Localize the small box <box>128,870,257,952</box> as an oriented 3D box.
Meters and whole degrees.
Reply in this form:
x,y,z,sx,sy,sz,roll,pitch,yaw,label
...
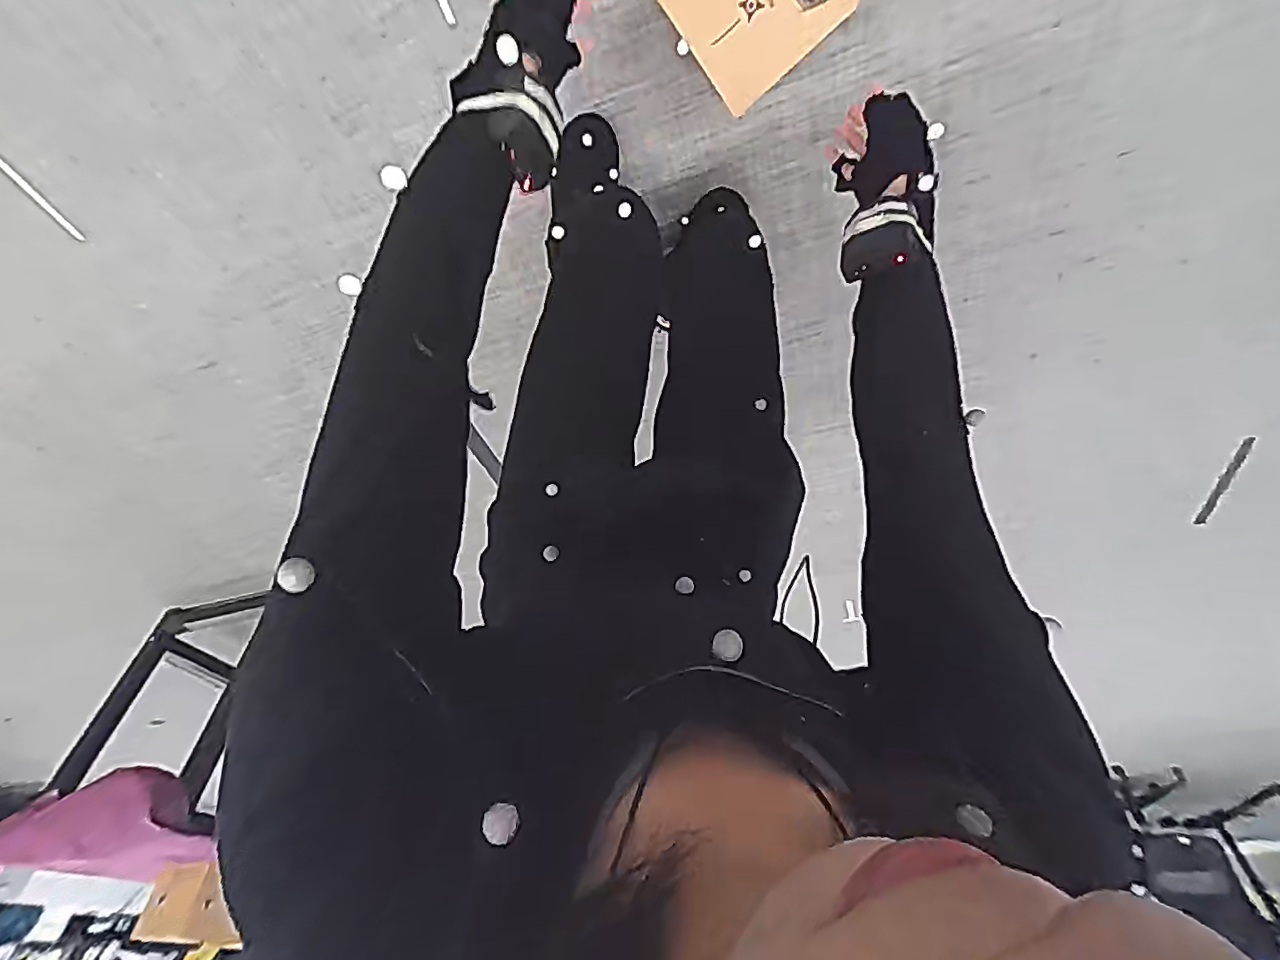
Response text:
x,y,z,sx,sy,sz,roll,pitch,yaw,label
-1.215,1.181,1.484,0.168,0.176,0.179,-10,137,13,small box

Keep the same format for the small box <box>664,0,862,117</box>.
x,y,z,sx,sy,sz,roll,pitch,yaw,label
0.138,-0.607,0.669,0.179,0.176,0.168,-31,128,29,small box
